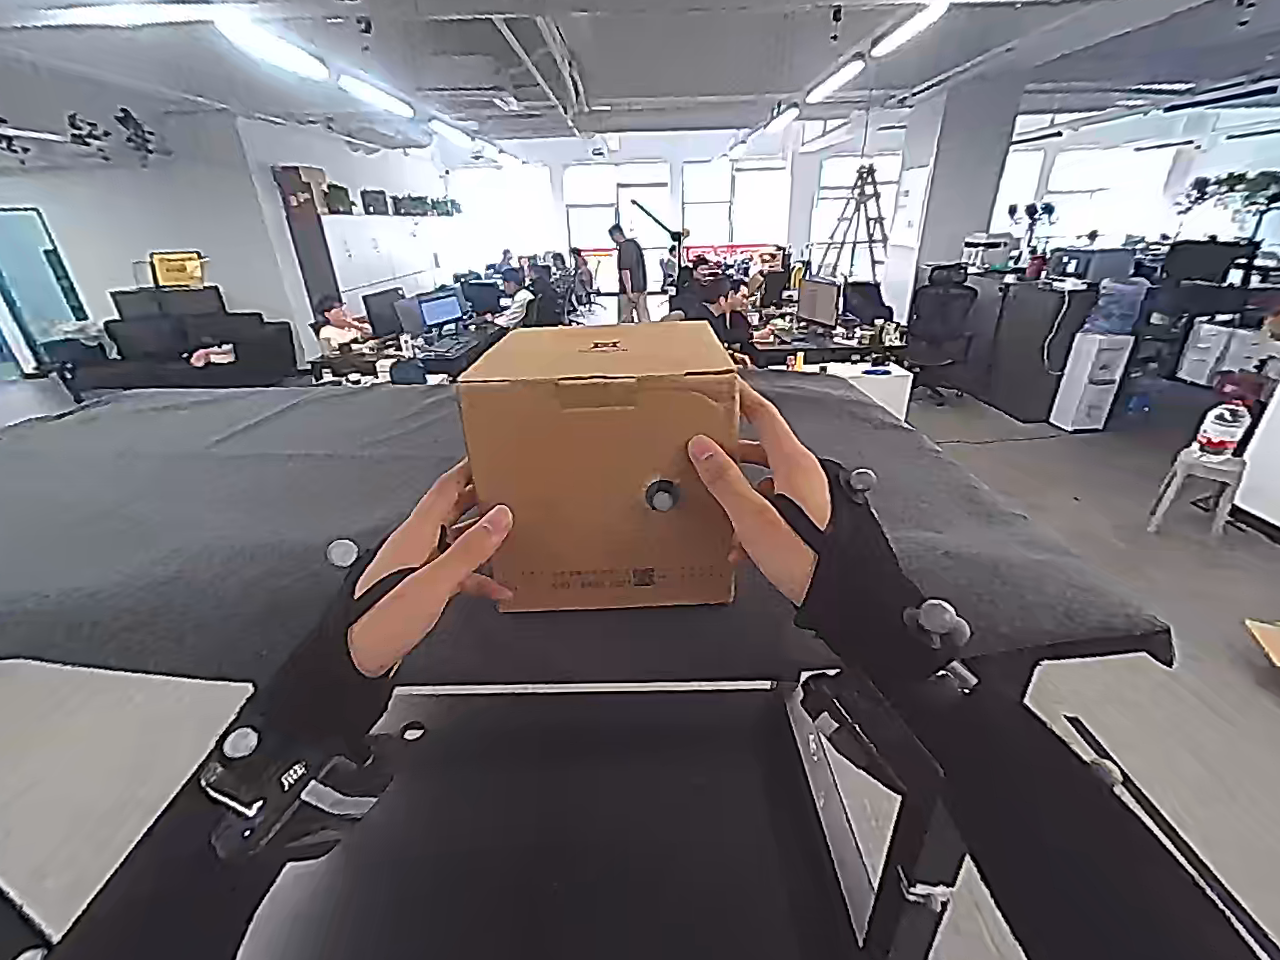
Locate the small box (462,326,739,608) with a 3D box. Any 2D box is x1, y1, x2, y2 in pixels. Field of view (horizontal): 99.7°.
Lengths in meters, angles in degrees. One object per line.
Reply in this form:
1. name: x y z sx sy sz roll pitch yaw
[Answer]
1. small box: -0.019 -0.016 0.417 0.168 0.176 0.179 -1 25 0
